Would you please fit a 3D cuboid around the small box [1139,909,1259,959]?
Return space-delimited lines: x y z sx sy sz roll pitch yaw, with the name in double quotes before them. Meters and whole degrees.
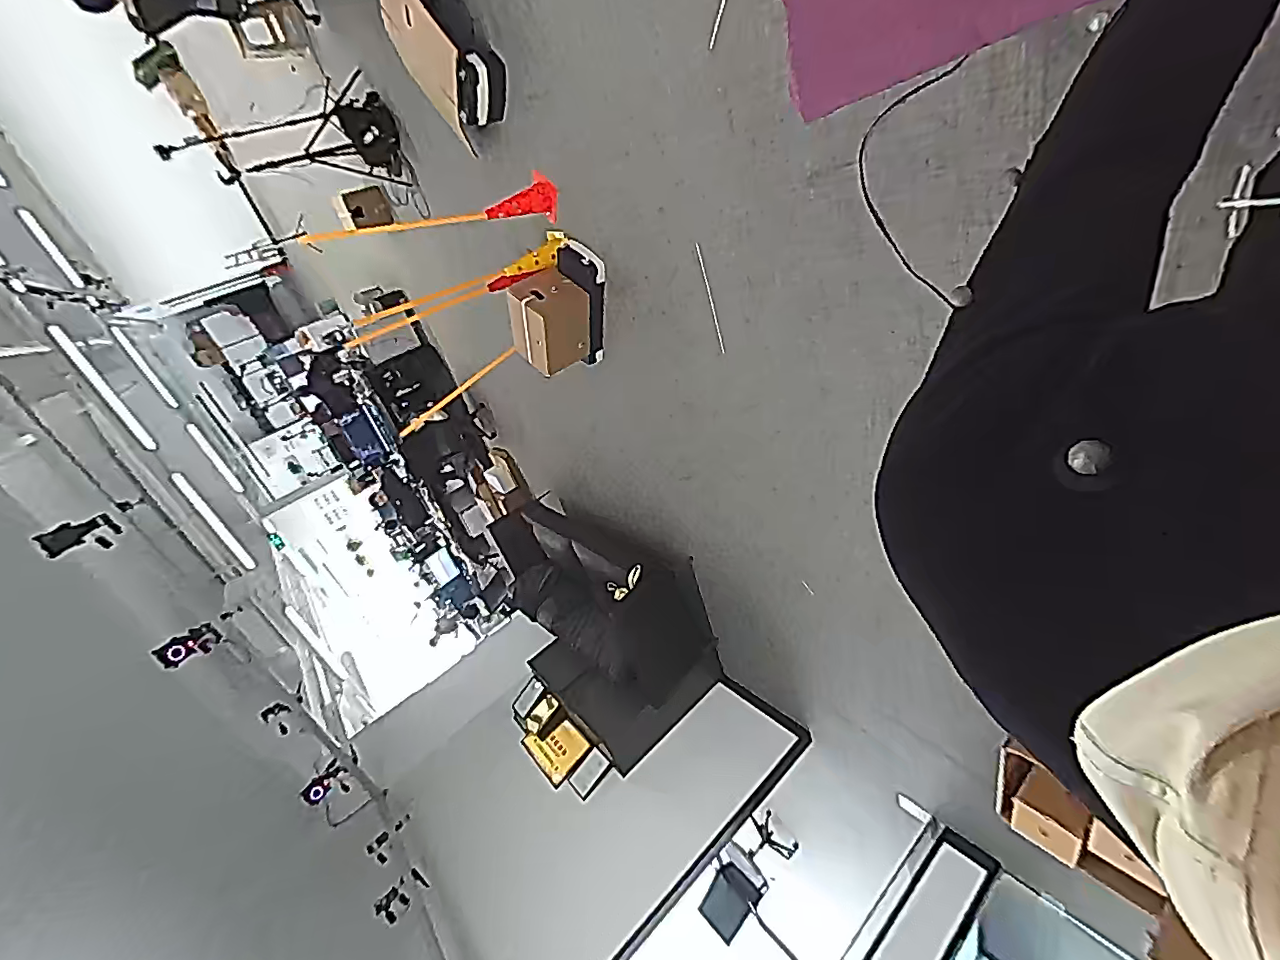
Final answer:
"small box" 1.327 1.178 1.288 0.179 0.176 0.168 23 138 50
